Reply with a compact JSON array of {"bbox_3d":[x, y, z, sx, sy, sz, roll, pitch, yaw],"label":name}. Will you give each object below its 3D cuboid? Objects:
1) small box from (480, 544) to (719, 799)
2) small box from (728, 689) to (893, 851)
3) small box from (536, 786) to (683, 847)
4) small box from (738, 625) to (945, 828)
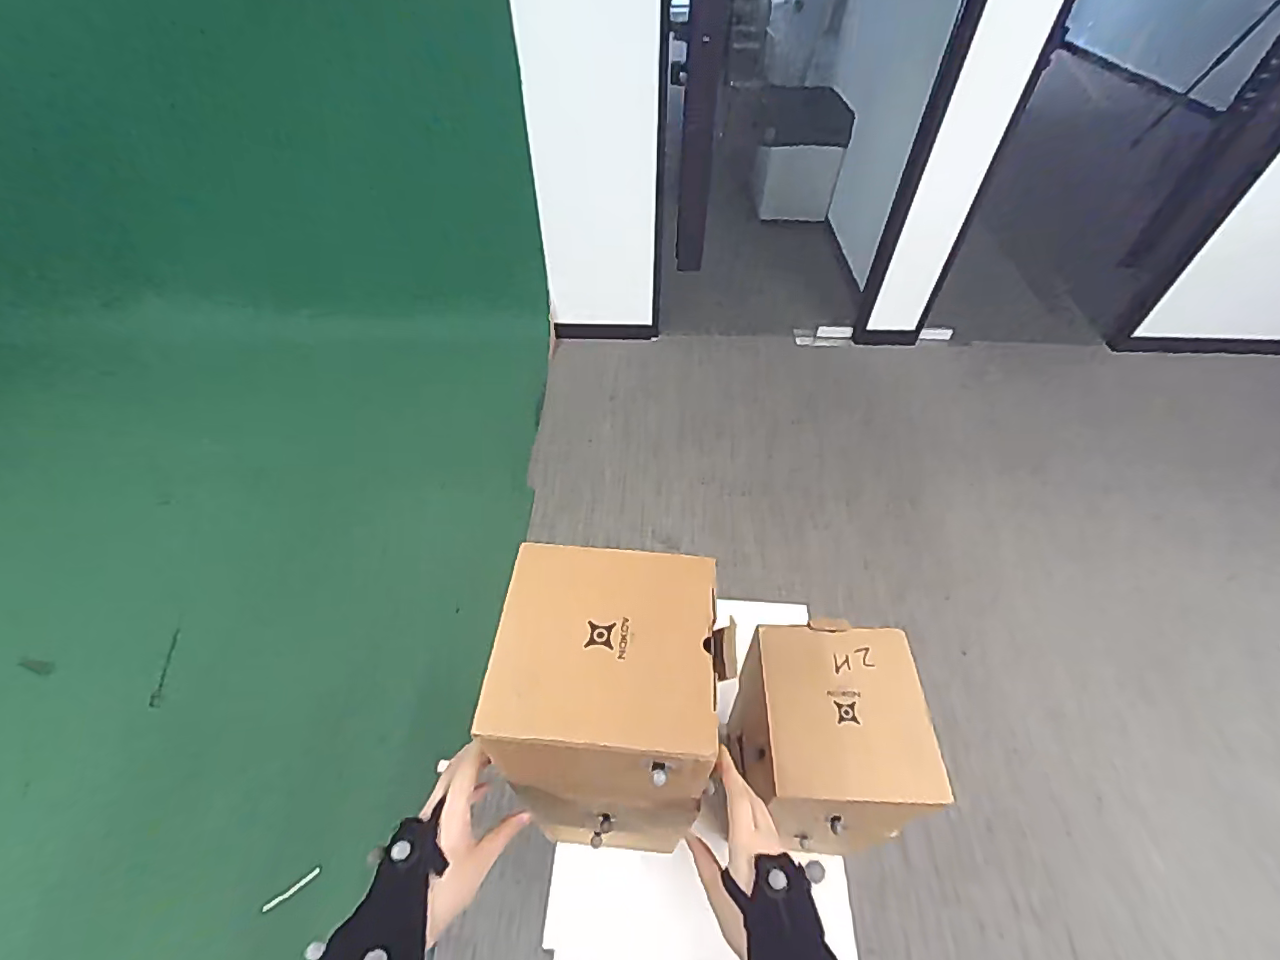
[{"bbox_3d":[-0.026,0.178,0.497,0.179,0.176,0.168,5,49,1],"label":"small box"},{"bbox_3d":[0.216,0.397,0.744,0.179,0.176,0.168,4,49,2],"label":"small box"},{"bbox_3d":[-0.032,0.392,0.744,0.179,0.176,0.168,4,50,2],"label":"small box"},{"bbox_3d":[0.210,0.286,0.622,0.168,0.176,0.179,2,49,1],"label":"small box"}]
